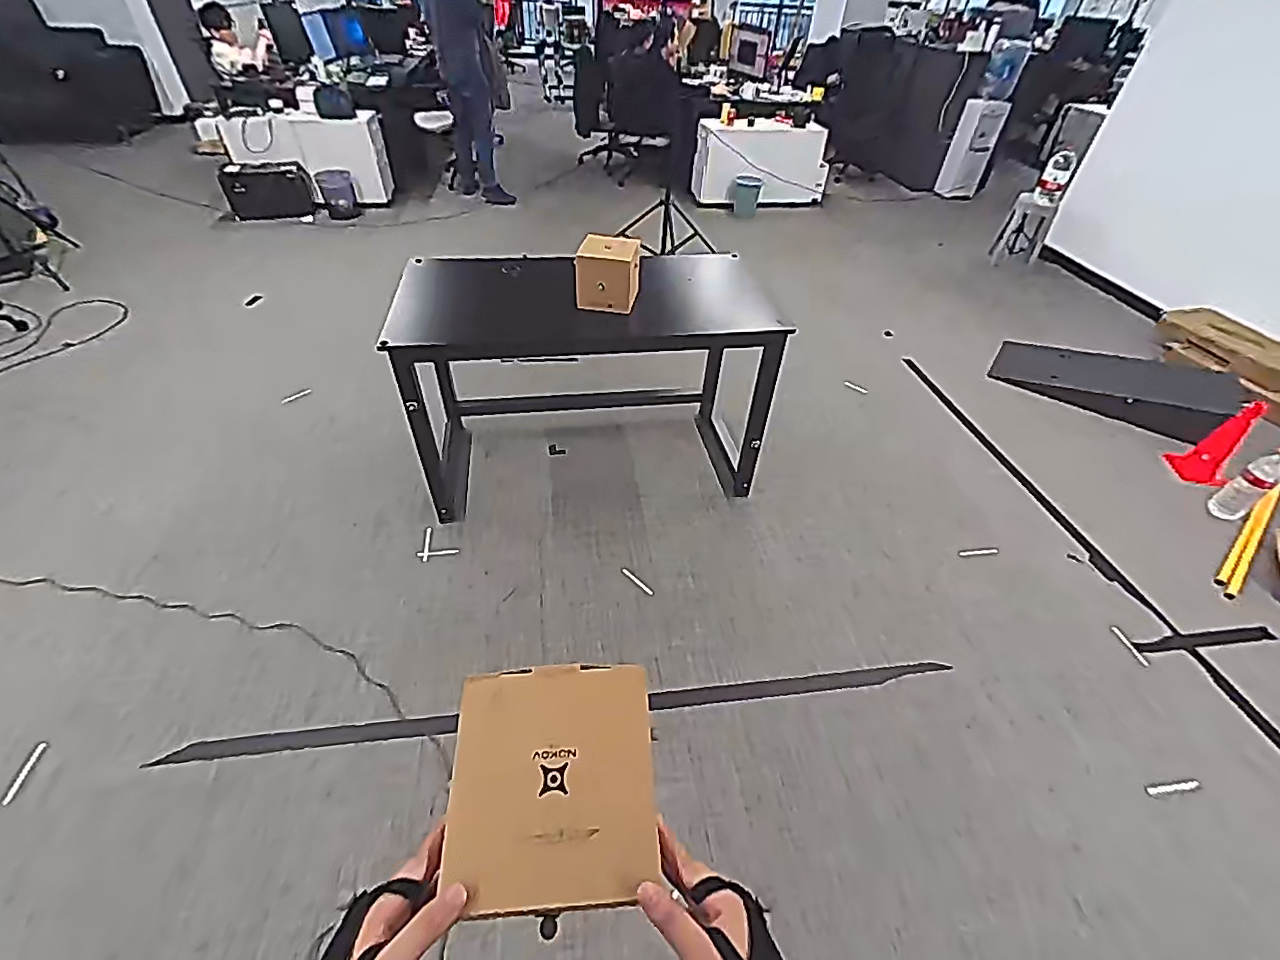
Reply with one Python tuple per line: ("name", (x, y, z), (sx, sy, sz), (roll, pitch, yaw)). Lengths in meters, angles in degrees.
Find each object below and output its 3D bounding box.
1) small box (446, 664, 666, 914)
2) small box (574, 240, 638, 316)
("small box", (-0.070, 0.293, 0.512), (0.168, 0.176, 0.179), (-2, 51, -4))
("small box", (-0.102, -0.630, 1.692), (0.168, 0.176, 0.179), (8, 43, 5))
